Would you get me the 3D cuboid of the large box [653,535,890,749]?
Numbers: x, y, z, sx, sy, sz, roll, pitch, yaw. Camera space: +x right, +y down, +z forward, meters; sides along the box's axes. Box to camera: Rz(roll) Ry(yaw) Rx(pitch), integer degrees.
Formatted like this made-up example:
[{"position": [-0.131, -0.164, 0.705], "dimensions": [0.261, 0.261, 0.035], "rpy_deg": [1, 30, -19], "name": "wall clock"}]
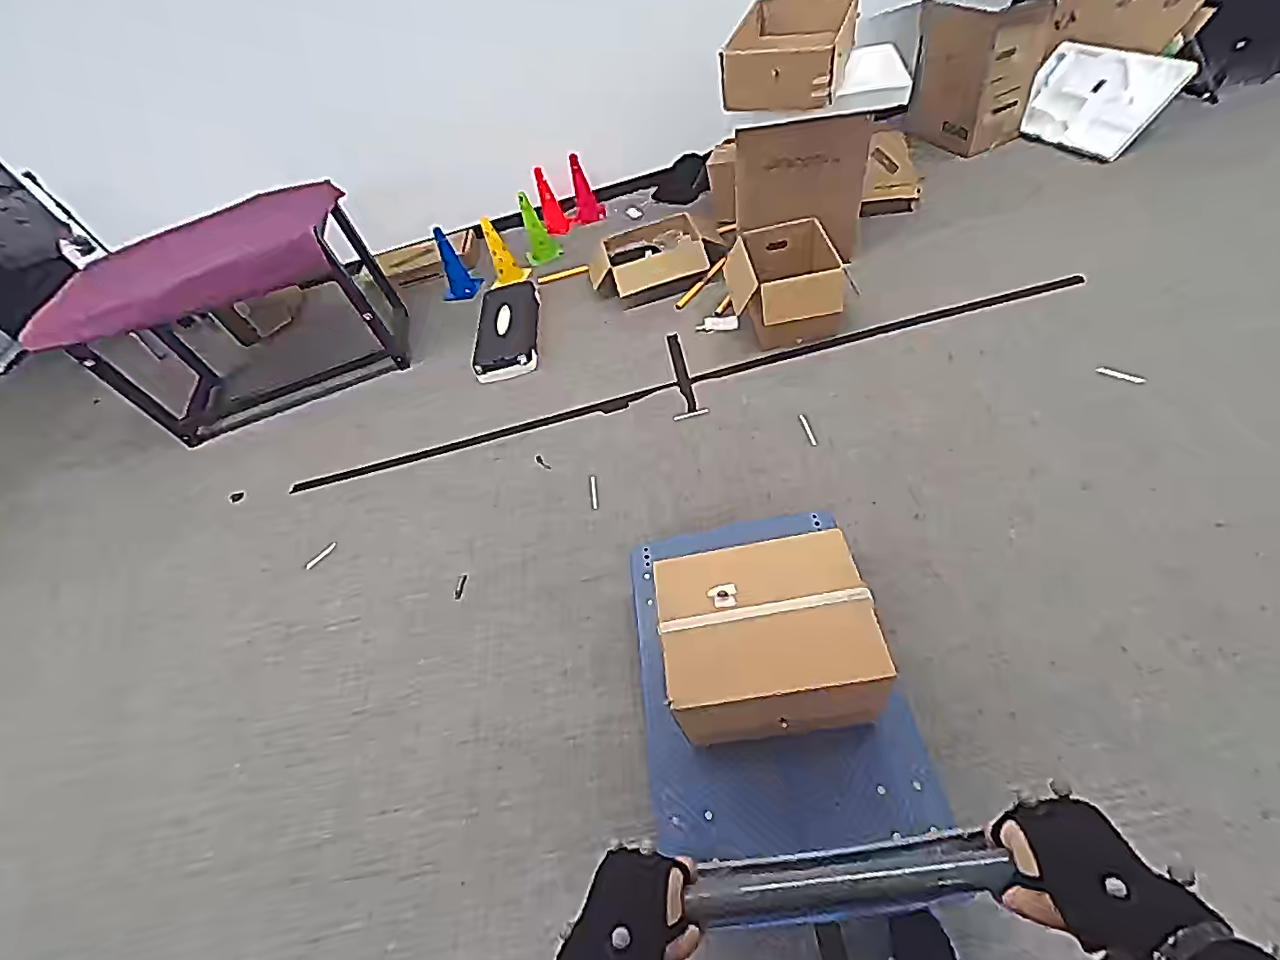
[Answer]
[{"position": [0.269, 0.362, 1.177], "dimensions": [0.408, 0.320, 0.320], "rpy_deg": [-12, 49, 7], "name": "large box"}]
